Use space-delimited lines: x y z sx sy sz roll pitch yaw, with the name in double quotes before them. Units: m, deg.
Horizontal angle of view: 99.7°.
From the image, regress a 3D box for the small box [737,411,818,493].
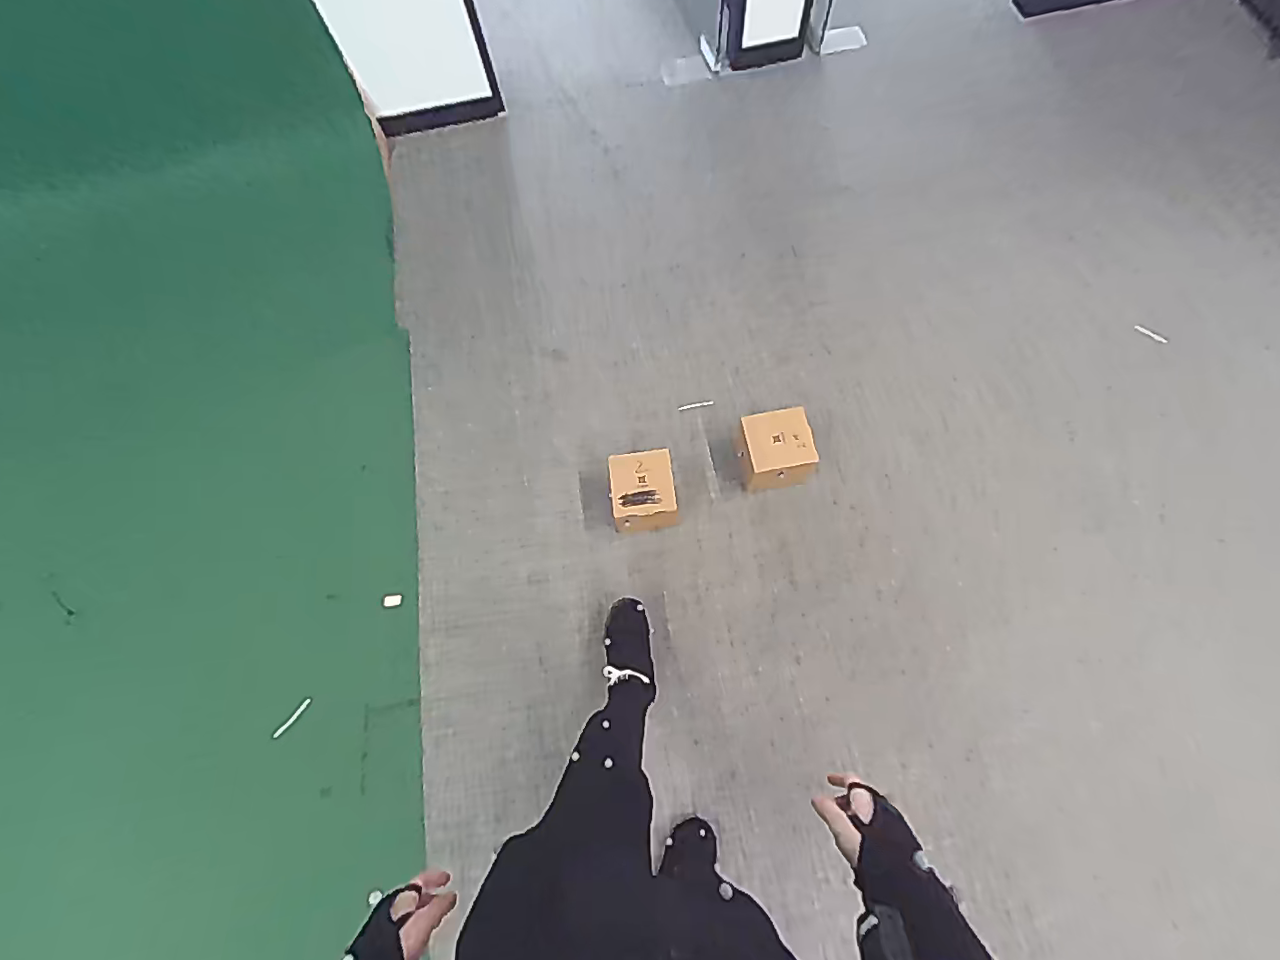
"small box" 0.374 -0.073 1.517 0.179 0.176 0.168 -9 70 -1
